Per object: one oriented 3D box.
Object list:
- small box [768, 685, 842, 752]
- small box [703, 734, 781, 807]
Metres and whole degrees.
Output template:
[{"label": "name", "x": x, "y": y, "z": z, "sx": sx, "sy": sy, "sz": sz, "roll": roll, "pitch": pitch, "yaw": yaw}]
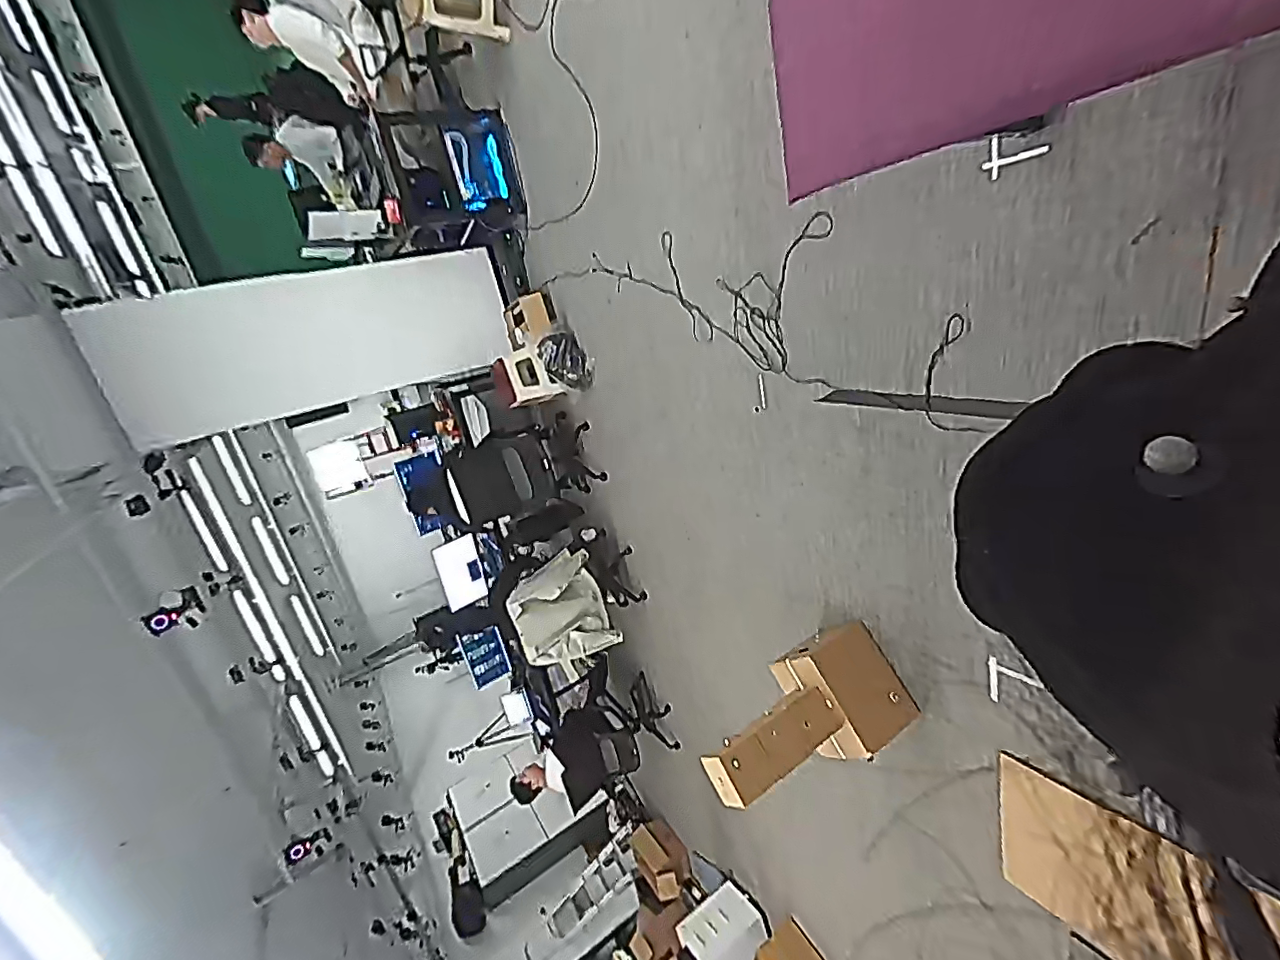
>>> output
[{"label": "small box", "x": 0.632, "y": 0.912, "z": 2.066, "sx": 0.179, "sy": 0.176, "sz": 0.168, "roll": 60, "pitch": 152, "yaw": 17}, {"label": "small box", "x": 0.360, "y": 1.021, "z": 1.915, "sx": 0.179, "sy": 0.176, "sz": 0.168, "roll": 60, "pitch": 153, "yaw": 17}]
